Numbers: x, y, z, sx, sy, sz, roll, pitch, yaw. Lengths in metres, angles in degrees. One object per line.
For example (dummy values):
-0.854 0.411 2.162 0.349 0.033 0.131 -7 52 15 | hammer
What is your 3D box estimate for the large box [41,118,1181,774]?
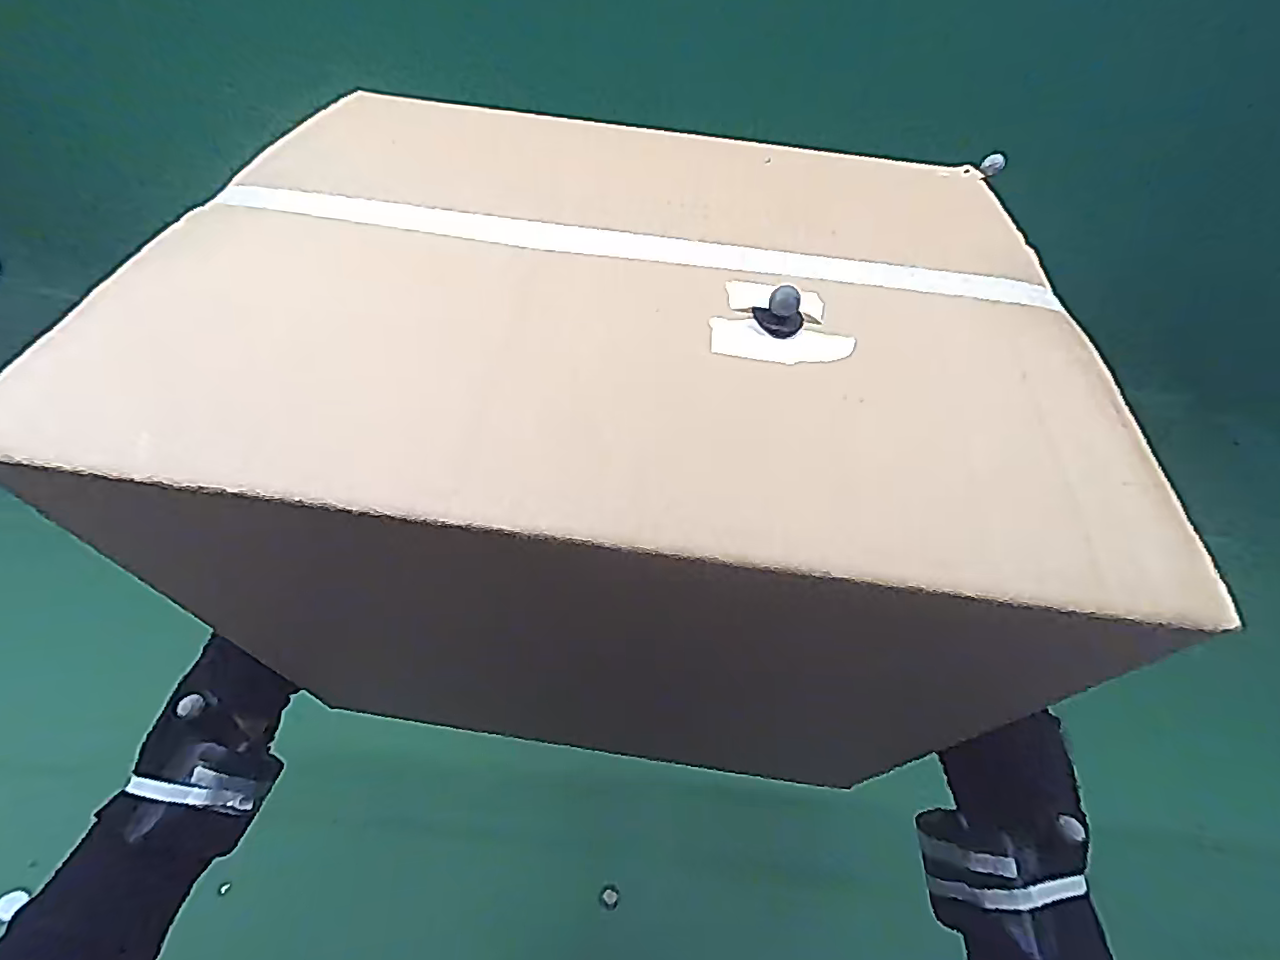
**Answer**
-0.007 -0.011 0.391 0.408 0.320 0.320 9 53 1 | large box
